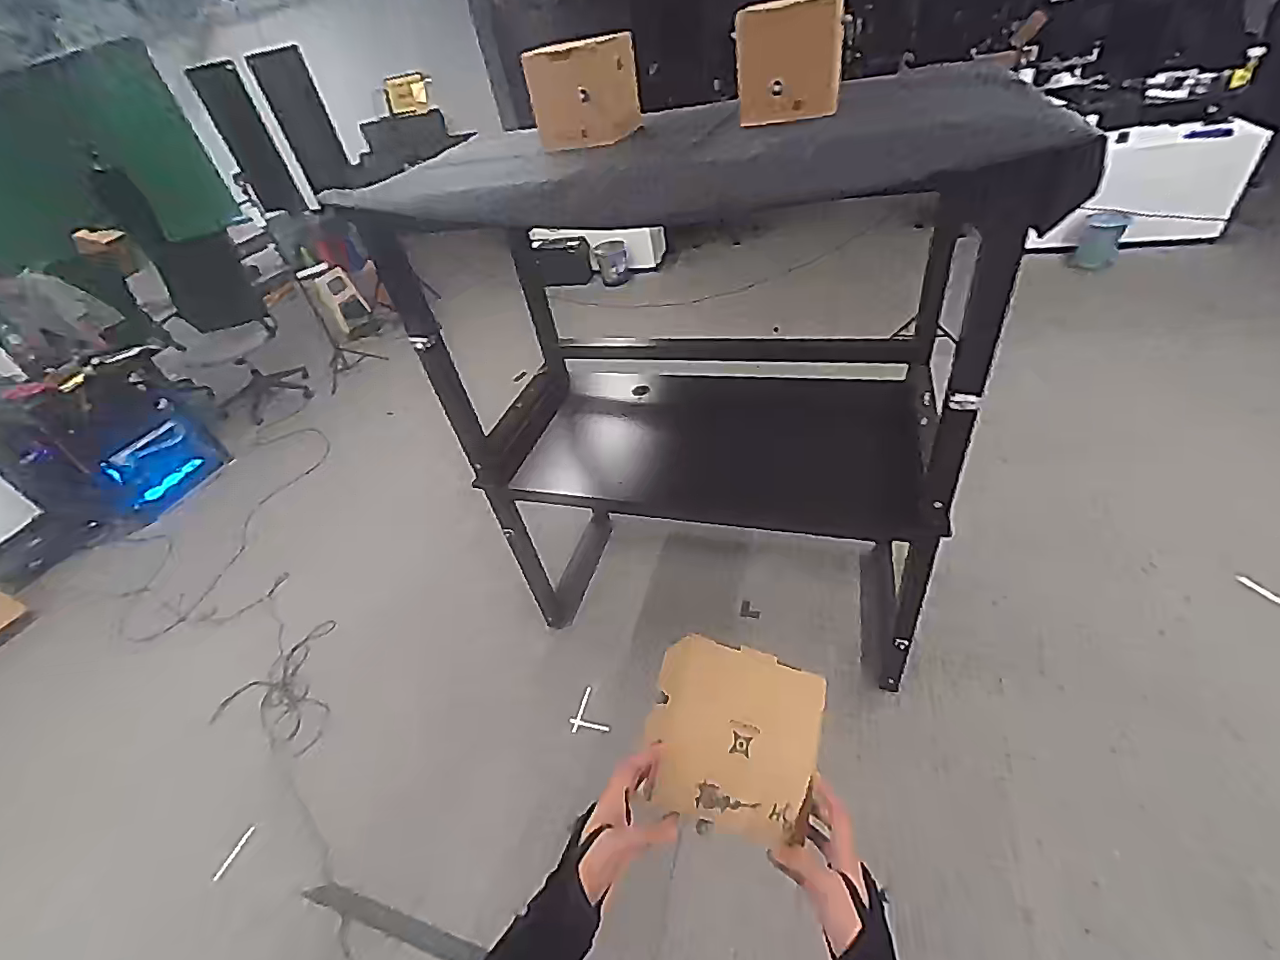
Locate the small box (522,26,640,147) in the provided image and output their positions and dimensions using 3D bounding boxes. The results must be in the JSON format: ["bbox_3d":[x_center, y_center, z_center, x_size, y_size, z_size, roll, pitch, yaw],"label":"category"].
[{"bbox_3d":[-0.107,-0.792,1.099,0.168,0.176,0.179,8,45,20],"label":"small box"}]

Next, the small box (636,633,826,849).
[{"bbox_3d":[0.100,0.302,0.649,0.168,0.176,0.179,18,66,0],"label":"small box"}]

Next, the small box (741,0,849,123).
[{"bbox_3d":[0.278,-0.762,0.973,0.168,0.176,0.179,5,44,19],"label":"small box"}]
